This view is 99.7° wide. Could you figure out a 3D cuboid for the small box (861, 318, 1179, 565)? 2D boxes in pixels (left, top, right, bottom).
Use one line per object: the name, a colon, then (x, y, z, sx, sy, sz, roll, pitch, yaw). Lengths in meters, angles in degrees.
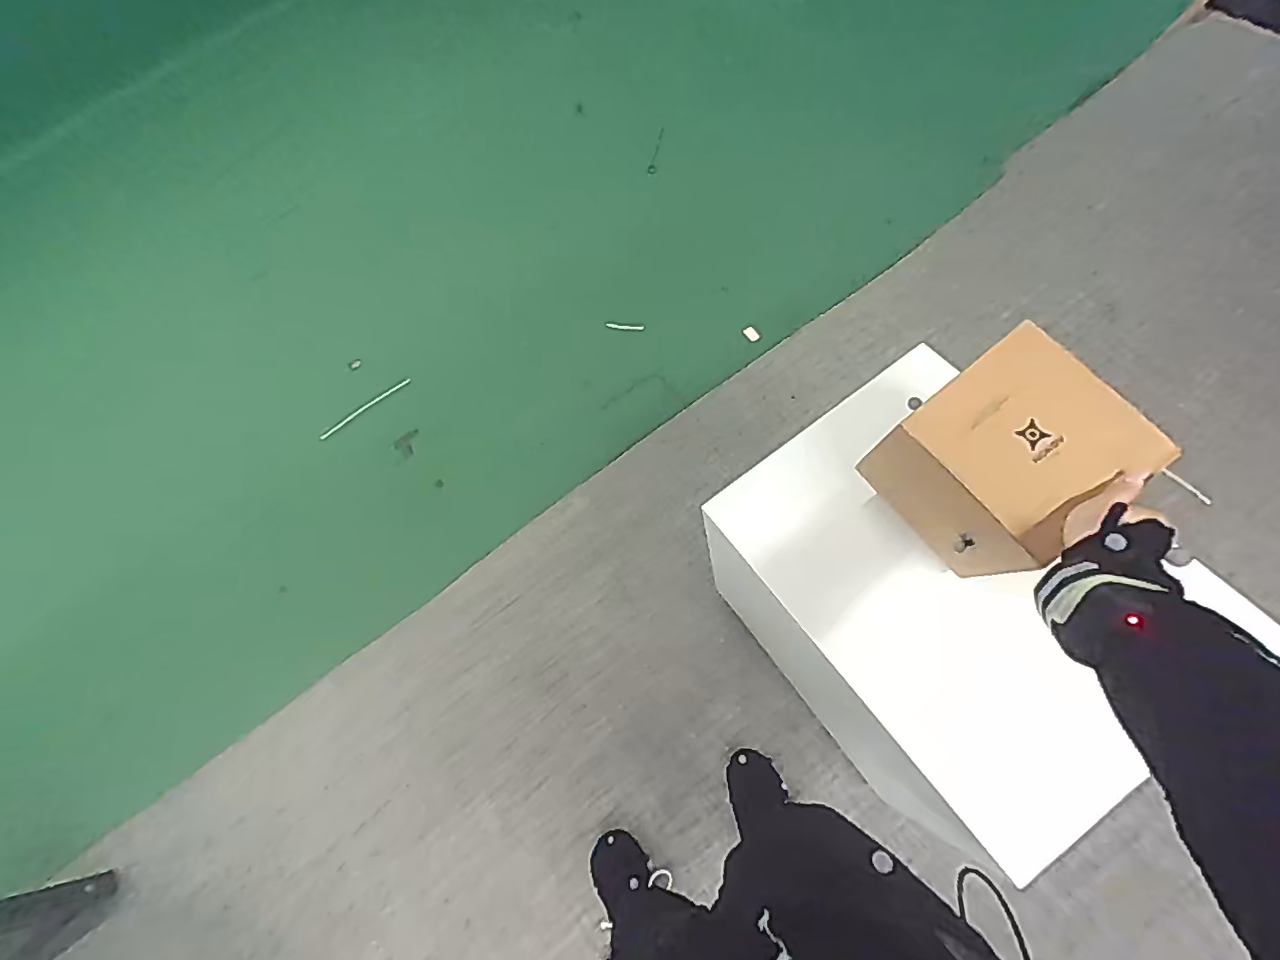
small box: (0.369, -0.025, 0.568, 0.168, 0.176, 0.179, -39, 74, -3)
